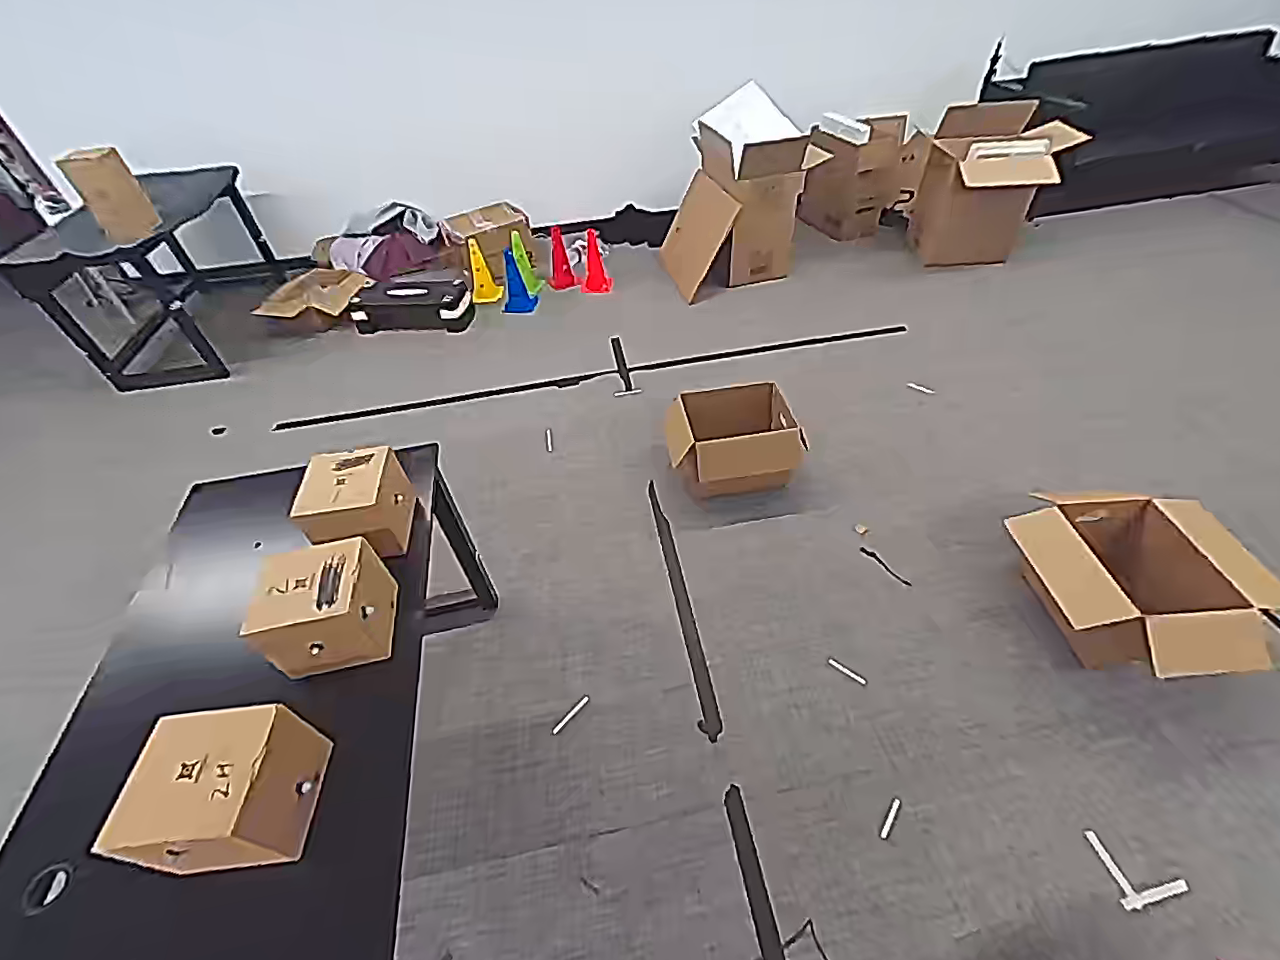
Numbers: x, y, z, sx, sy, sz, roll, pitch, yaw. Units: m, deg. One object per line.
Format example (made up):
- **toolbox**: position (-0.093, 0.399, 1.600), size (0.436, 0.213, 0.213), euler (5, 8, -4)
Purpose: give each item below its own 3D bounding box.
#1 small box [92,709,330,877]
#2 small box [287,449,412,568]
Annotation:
- **small box**: position (-0.591, 0.452, 0.777), size (0.179, 0.176, 0.168), euler (-7, 46, -1)
- **small box**: position (-0.605, 0.061, 1.155), size (0.168, 0.176, 0.179), euler (-10, 47, -3)
